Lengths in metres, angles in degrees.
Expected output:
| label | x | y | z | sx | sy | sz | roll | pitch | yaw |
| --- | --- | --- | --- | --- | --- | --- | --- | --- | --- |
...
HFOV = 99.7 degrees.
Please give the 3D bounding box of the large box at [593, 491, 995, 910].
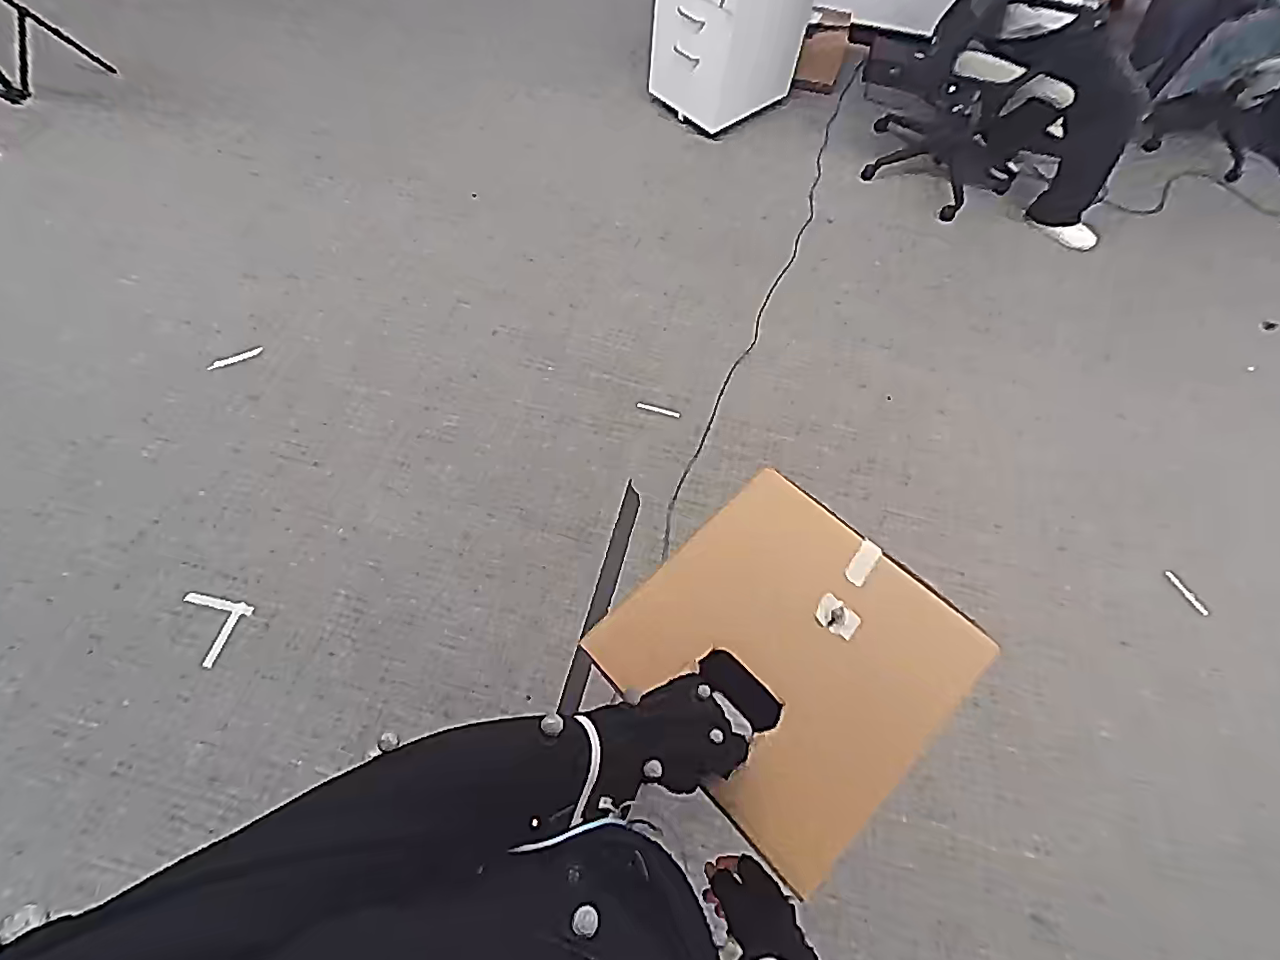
| label | x | y | z | sx | sy | sz | roll | pitch | yaw |
| --- | --- | --- | --- | --- | --- | --- | --- | --- | --- |
| large box | 0.184 | 0.285 | 0.744 | 0.320 | 0.408 | 0.320 | -40 | 64 | -13 |
